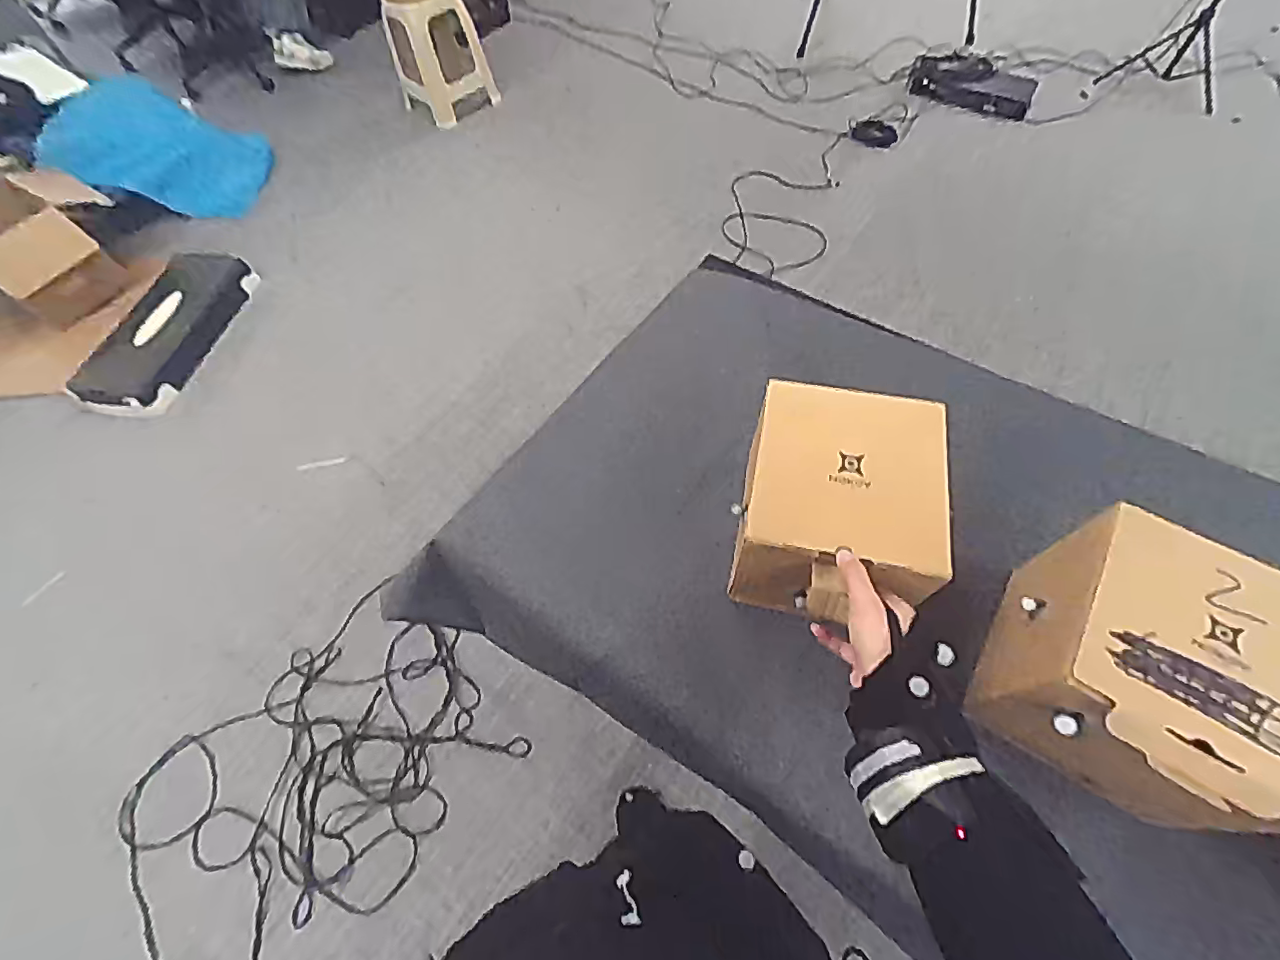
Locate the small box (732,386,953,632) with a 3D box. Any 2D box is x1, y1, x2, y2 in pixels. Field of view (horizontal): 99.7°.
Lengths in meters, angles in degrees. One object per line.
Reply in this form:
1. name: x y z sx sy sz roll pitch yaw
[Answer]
1. small box: 0.190 0.035 0.547 0.168 0.176 0.179 10 62 9
